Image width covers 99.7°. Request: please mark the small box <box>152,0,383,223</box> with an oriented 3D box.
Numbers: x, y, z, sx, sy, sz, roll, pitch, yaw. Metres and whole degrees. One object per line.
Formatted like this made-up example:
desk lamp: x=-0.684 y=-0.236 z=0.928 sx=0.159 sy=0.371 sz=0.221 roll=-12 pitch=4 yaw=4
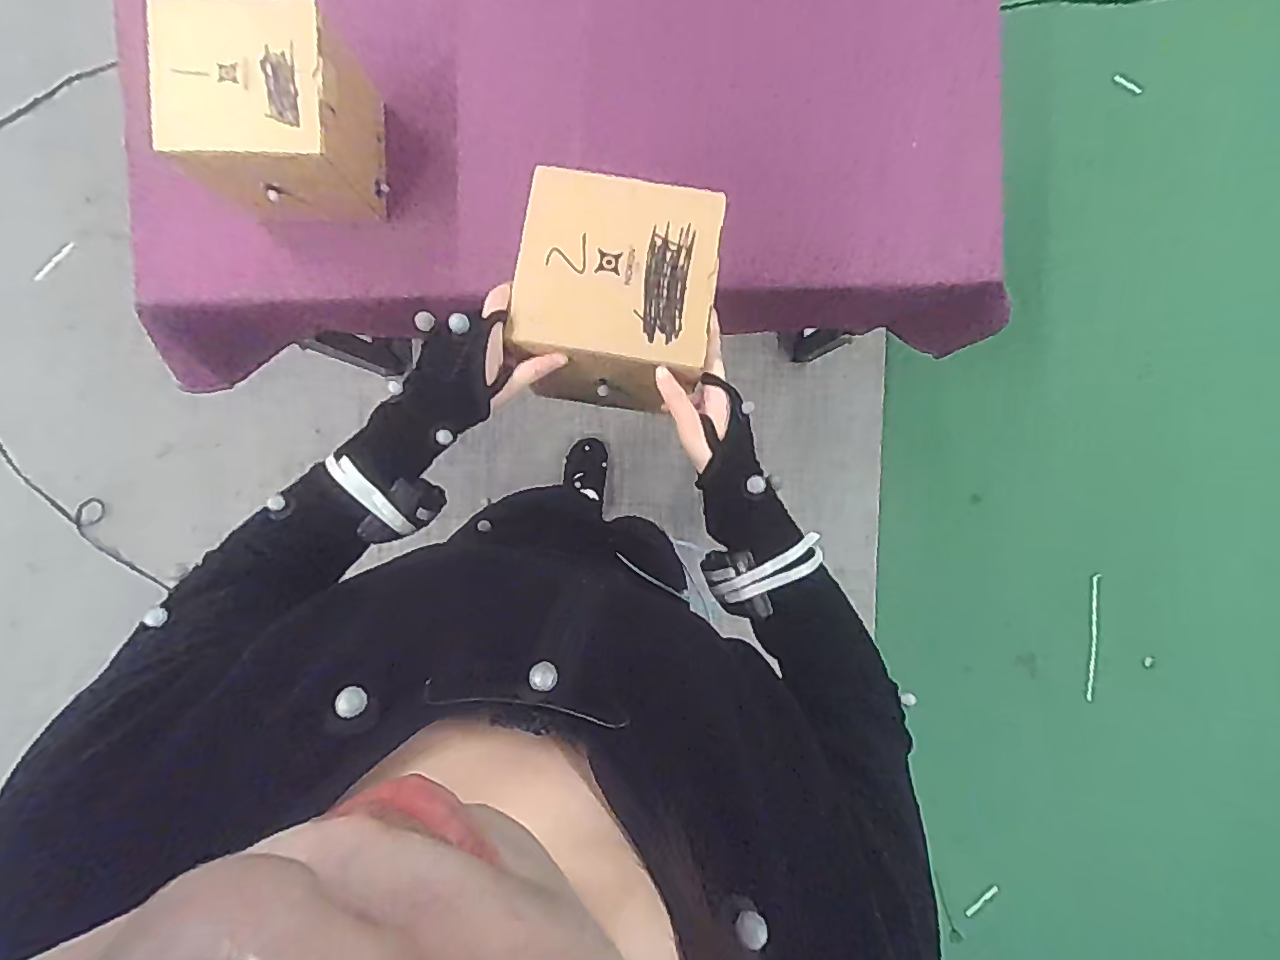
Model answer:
small box: x=-0.426 y=-0.428 z=0.650 sx=0.179 sy=0.176 sz=0.168 roll=0 pitch=92 yaw=-3
